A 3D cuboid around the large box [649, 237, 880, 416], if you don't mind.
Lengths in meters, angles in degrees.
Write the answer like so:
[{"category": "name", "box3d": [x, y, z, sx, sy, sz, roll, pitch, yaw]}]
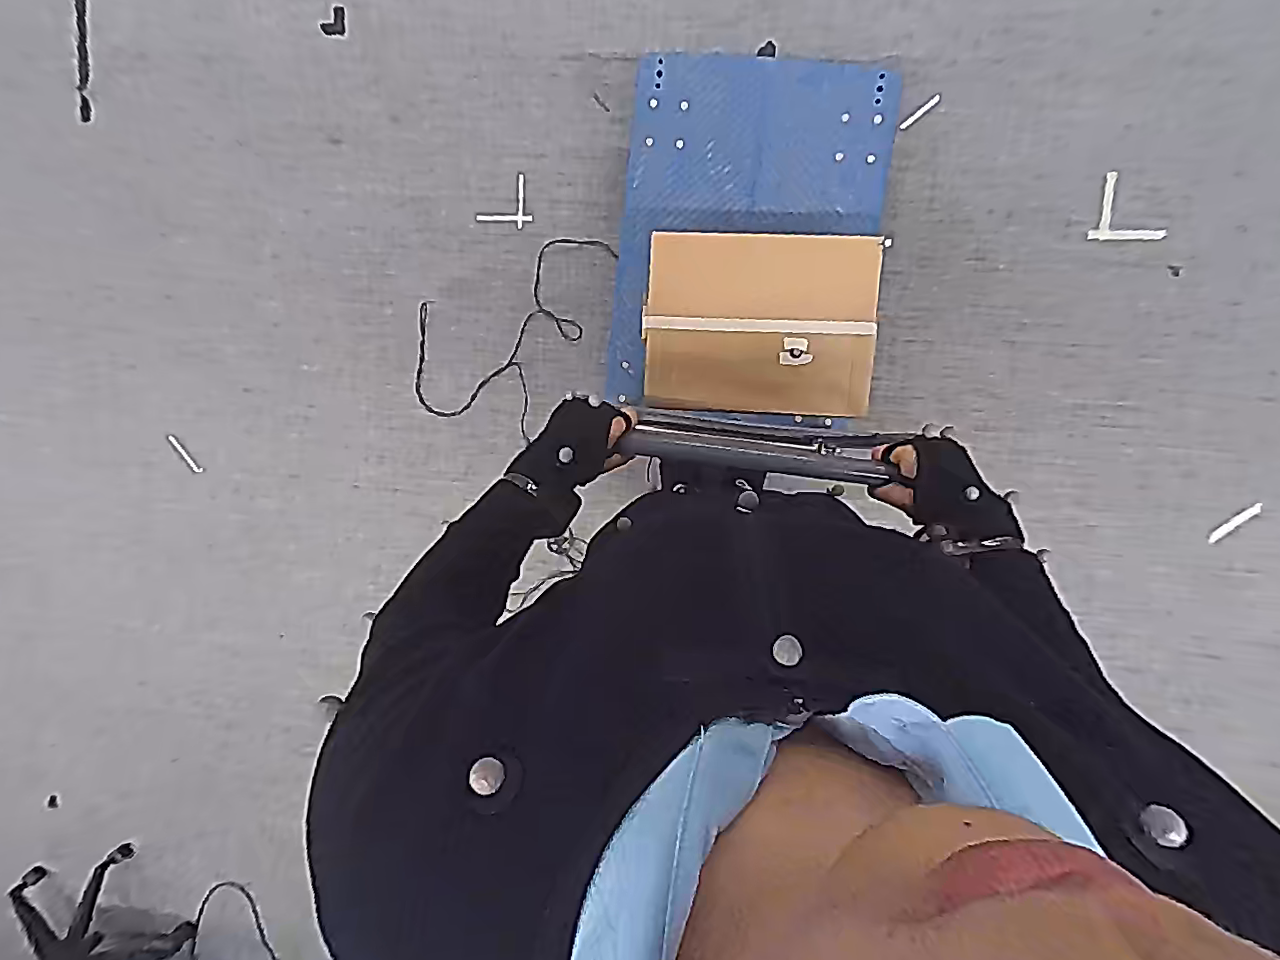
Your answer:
[{"category": "large box", "box3d": [0.227, -0.294, 1.123, 0.408, 0.320, 0.320, 3, 98, 4]}]
